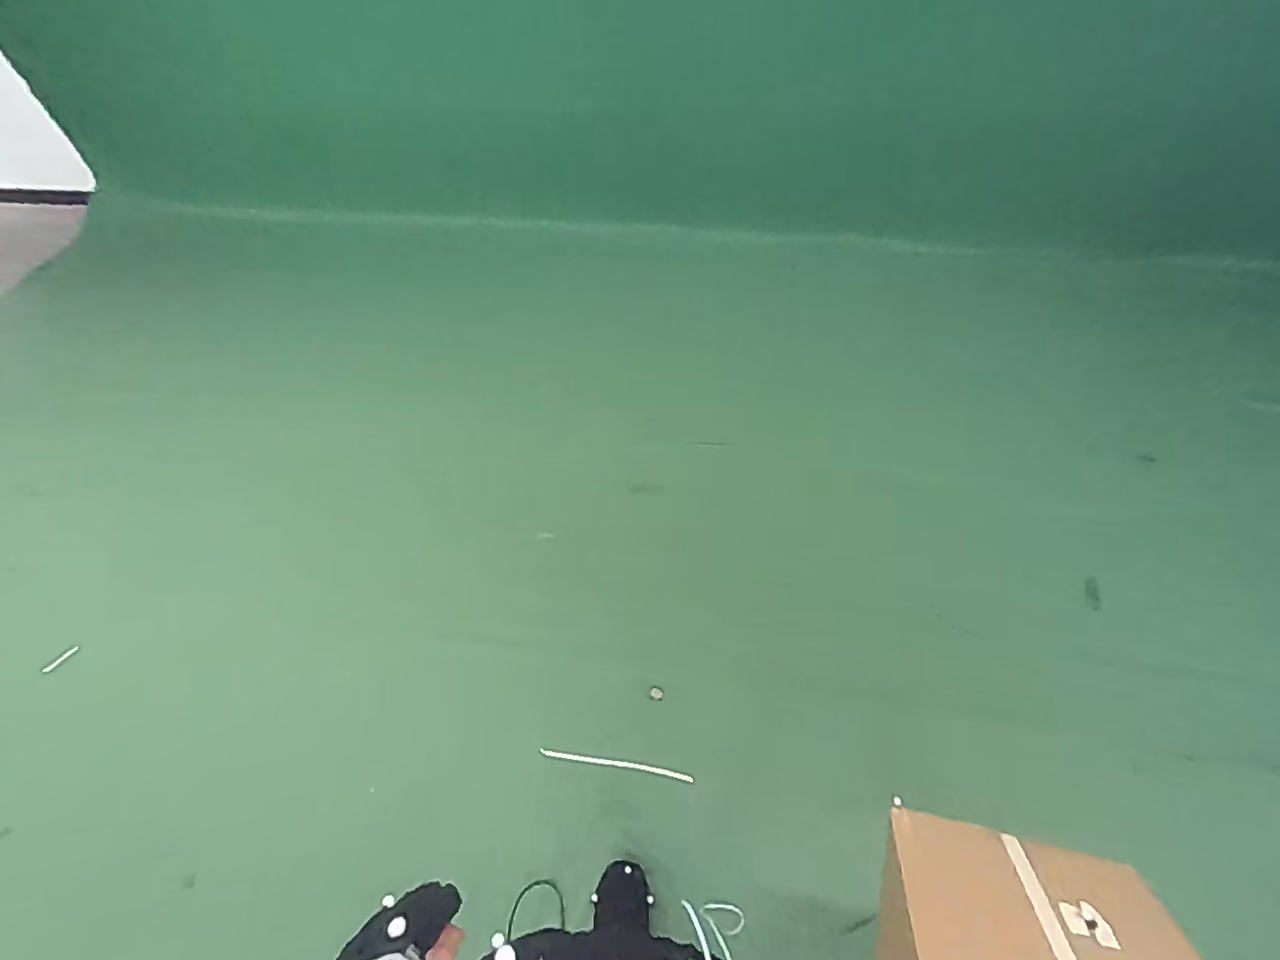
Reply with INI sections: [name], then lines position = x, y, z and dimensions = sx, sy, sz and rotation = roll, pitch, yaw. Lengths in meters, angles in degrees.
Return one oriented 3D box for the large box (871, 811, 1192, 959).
[large box]
position = 0.459, 0.687, 0.618
dimensions = 0.320, 0.408, 0.320
rotation = 7, 97, 17
